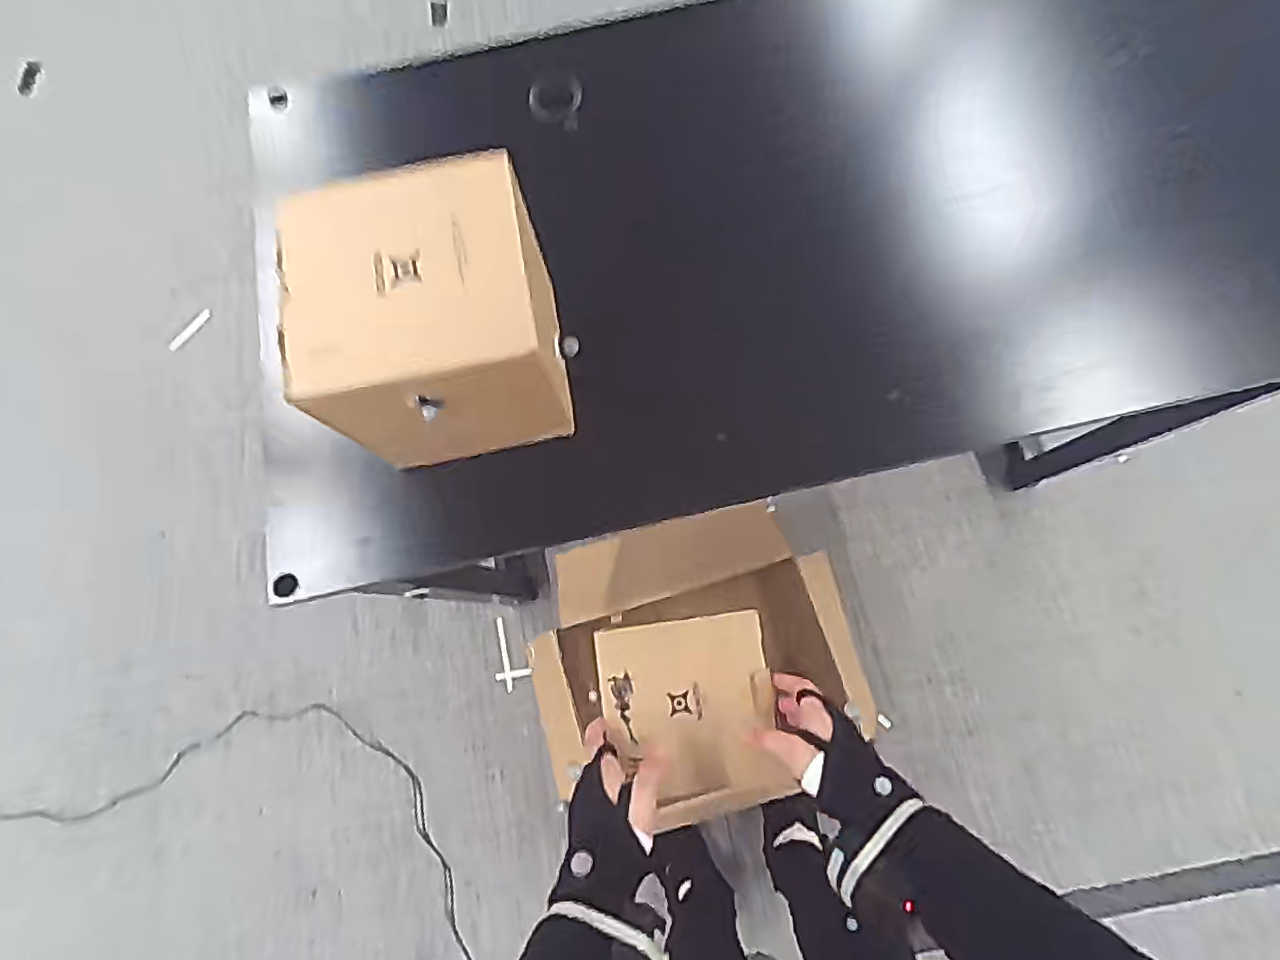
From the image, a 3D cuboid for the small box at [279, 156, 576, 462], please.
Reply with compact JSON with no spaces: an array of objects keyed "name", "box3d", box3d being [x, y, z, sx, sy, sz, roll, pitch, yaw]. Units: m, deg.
[{"name":"small box","box3d":[-0.162,-0.125,0.455,0.179,0.176,0.168,-12,76,-1]}]
